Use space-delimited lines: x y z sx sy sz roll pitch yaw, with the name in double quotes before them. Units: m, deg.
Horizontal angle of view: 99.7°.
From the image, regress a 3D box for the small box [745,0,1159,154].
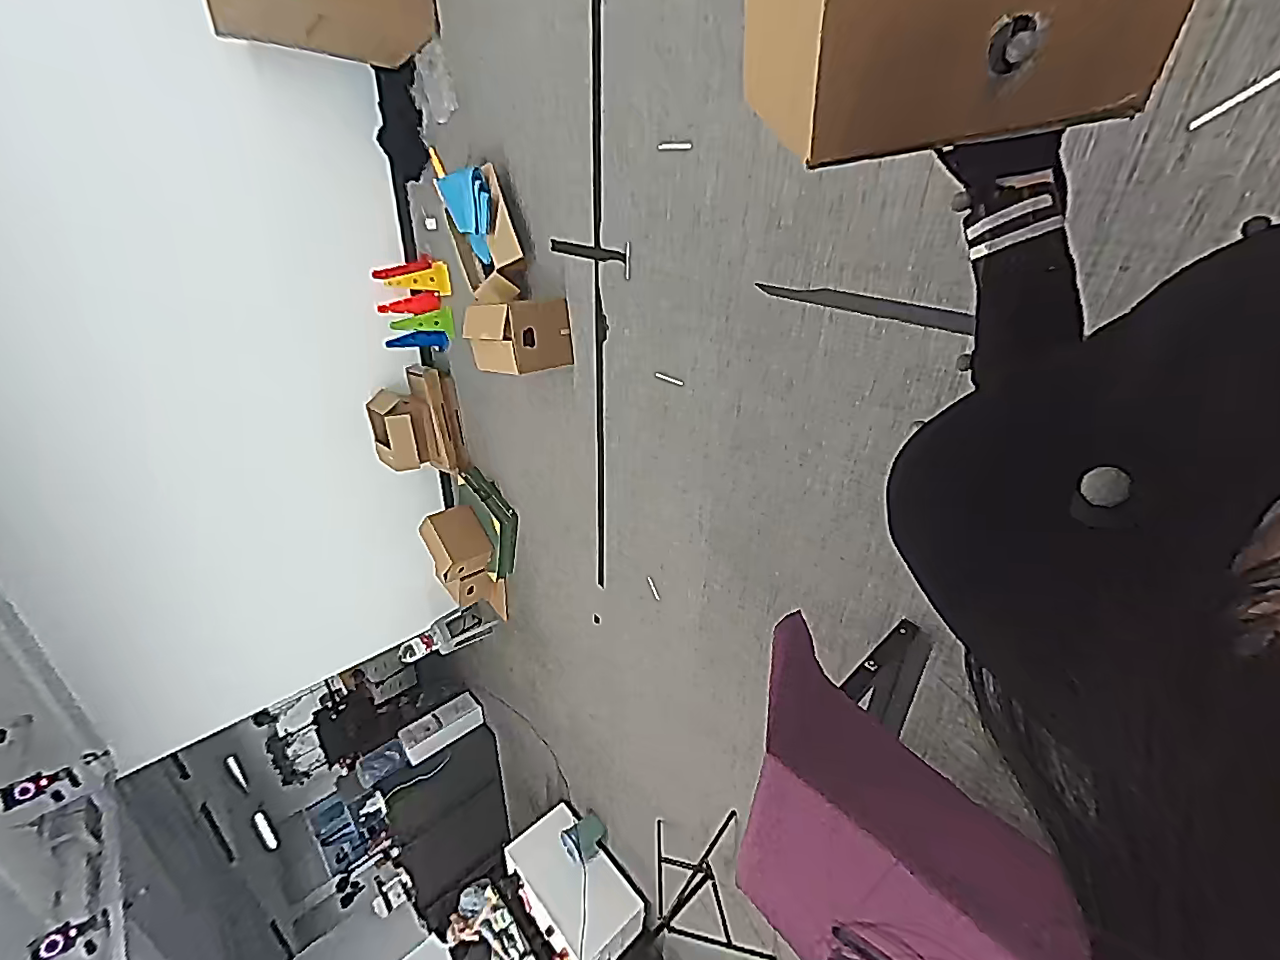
"small box" 0.155 -0.298 0.276 0.176 0.179 0.168 79 -175 -45
